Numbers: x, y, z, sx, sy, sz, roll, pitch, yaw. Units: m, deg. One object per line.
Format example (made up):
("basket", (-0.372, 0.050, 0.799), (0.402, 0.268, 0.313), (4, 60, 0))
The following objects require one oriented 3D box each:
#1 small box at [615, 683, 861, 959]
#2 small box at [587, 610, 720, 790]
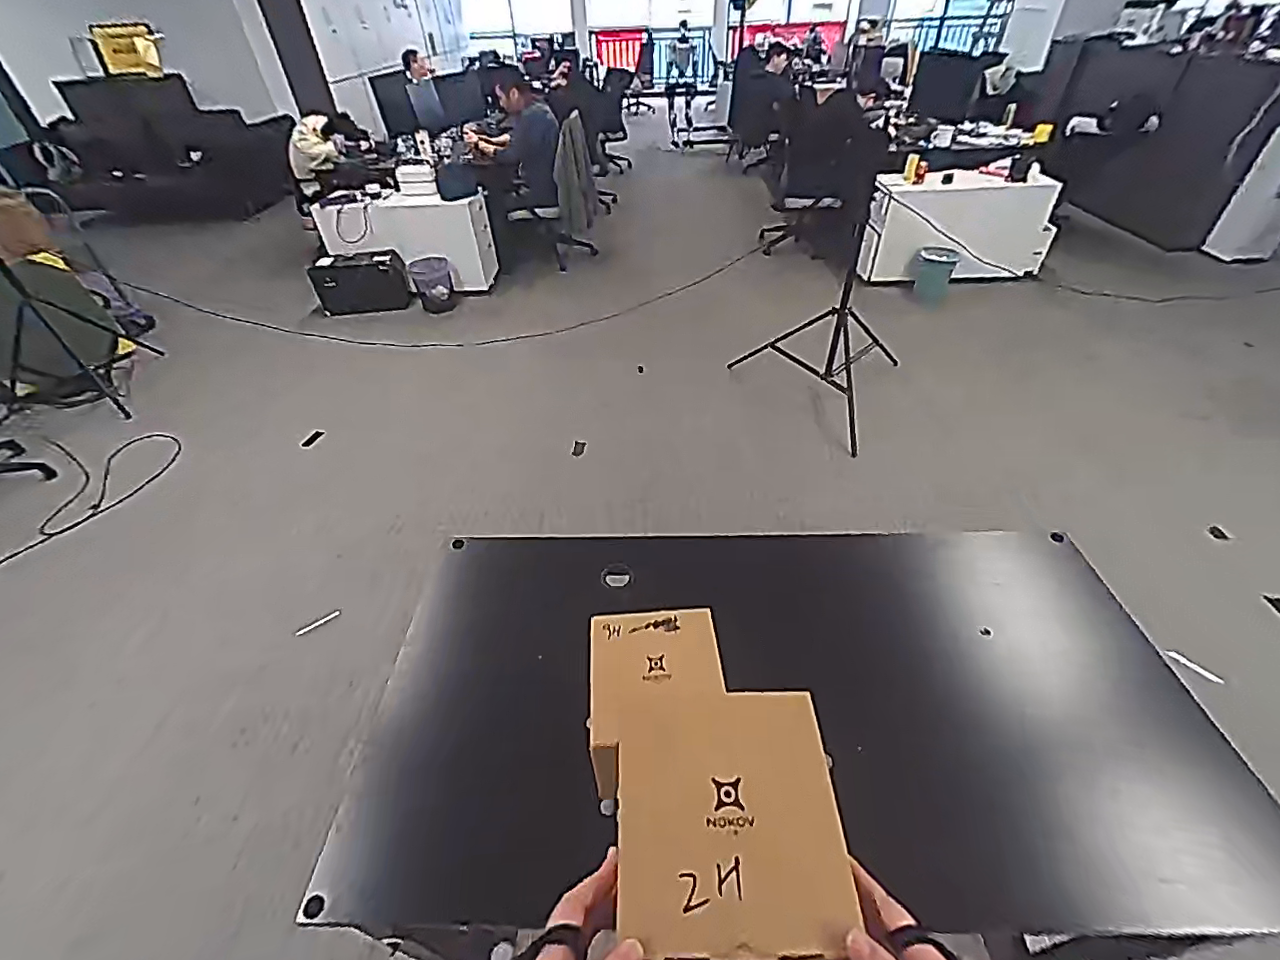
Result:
("small box", (0.064, 0.298, 0.470), (0.168, 0.176, 0.179), (-1, 45, 0))
("small box", (0.021, 0.303, 0.733), (0.168, 0.176, 0.179), (-4, 41, -1))
